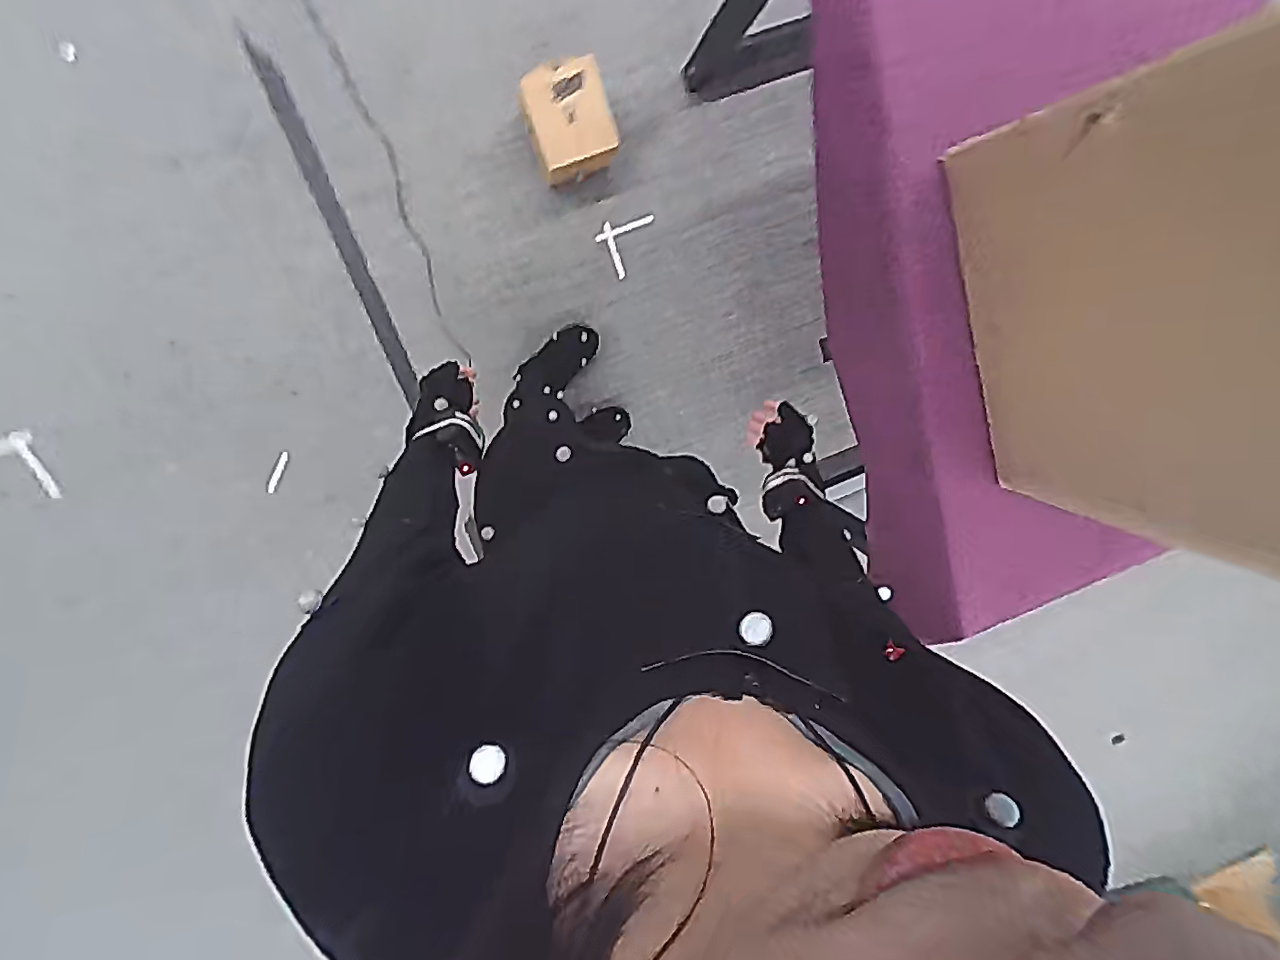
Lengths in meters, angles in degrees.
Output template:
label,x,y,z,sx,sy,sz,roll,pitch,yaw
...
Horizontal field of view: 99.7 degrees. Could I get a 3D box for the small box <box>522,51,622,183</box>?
label,x,y,z,sx,sy,sz,roll,pitch,yaw
small box,-0.155,-0.794,1.199,0.168,0.176,0.179,-22,110,-4
